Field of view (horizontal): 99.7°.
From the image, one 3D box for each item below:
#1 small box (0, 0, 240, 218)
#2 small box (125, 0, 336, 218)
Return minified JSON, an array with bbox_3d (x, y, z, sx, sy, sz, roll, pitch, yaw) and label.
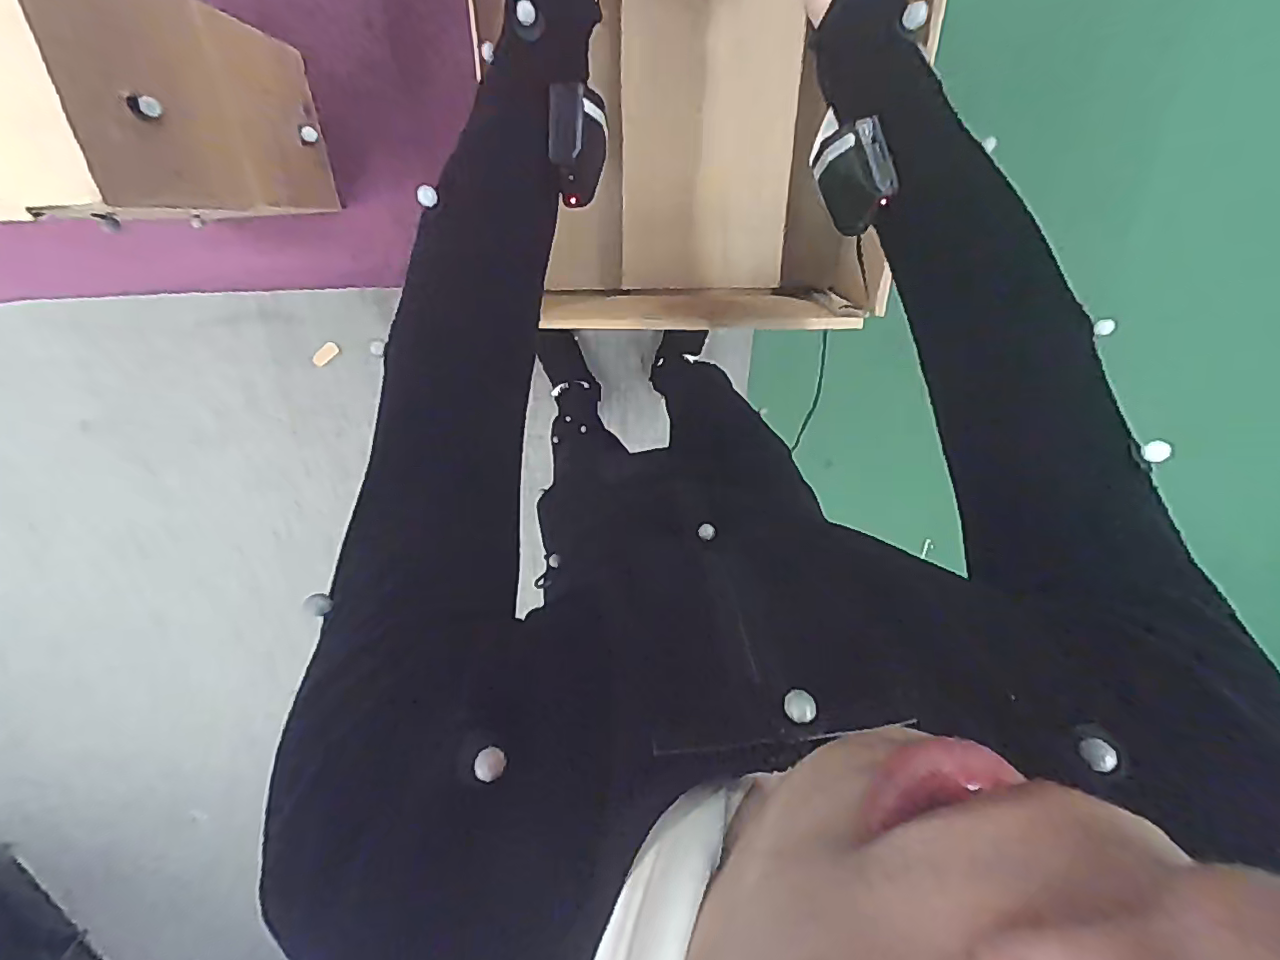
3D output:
[{"bbox_3d":[-0.466,-0.305,0.424,0.168,0.176,0.179,-2,116,0],"label":"small box"},{"bbox_3d":[-0.467,-0.372,0.573,0.179,0.176,0.168,-3,116,0],"label":"small box"}]
